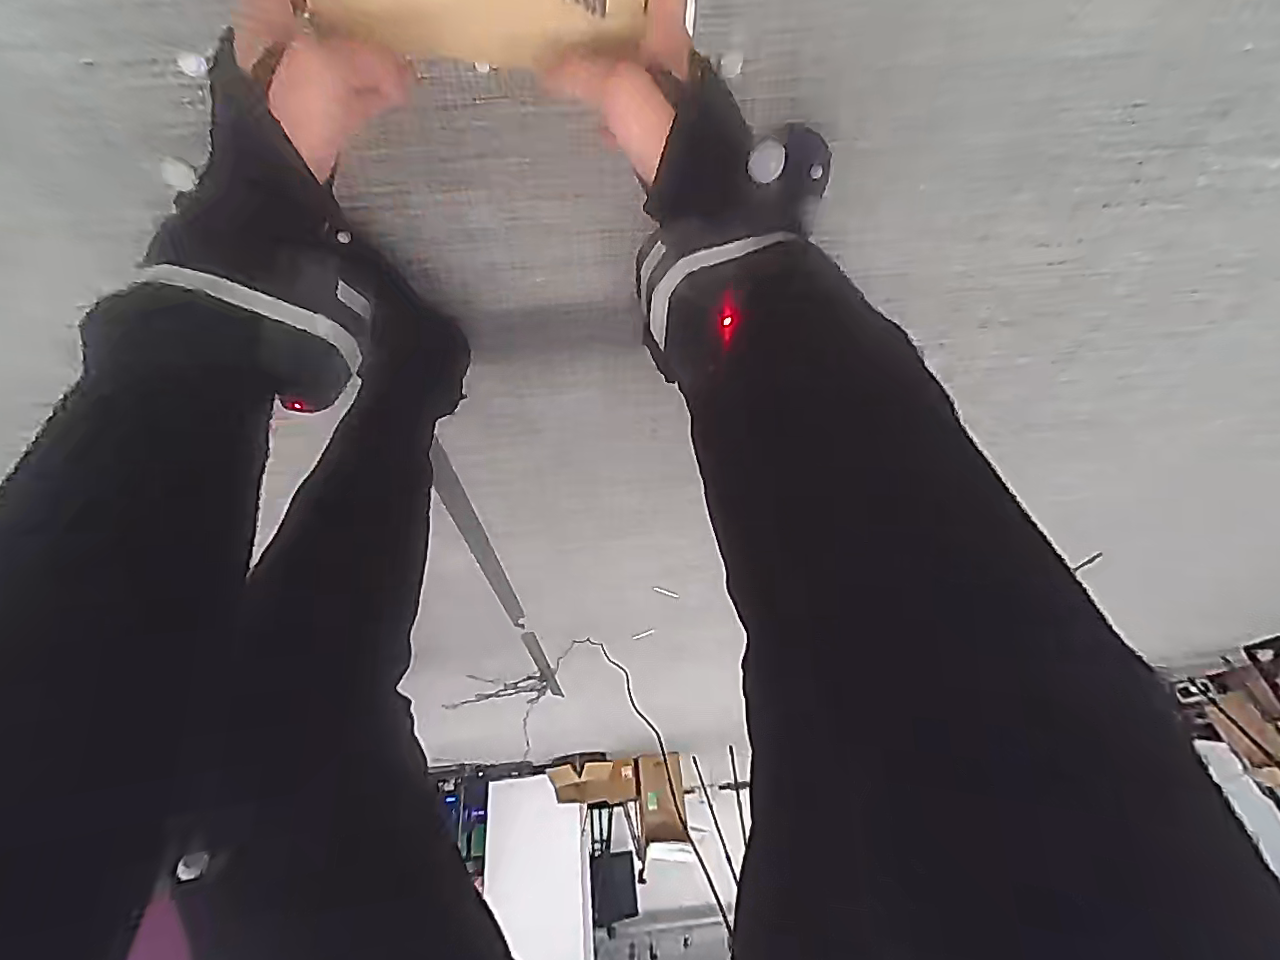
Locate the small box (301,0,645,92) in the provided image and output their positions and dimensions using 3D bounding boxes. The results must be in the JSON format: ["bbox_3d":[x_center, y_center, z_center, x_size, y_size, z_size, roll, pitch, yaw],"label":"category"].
[{"bbox_3d":[-0.087,-0.340,0.299,0.179,0.176,0.168,1,134,-9],"label":"small box"}]
